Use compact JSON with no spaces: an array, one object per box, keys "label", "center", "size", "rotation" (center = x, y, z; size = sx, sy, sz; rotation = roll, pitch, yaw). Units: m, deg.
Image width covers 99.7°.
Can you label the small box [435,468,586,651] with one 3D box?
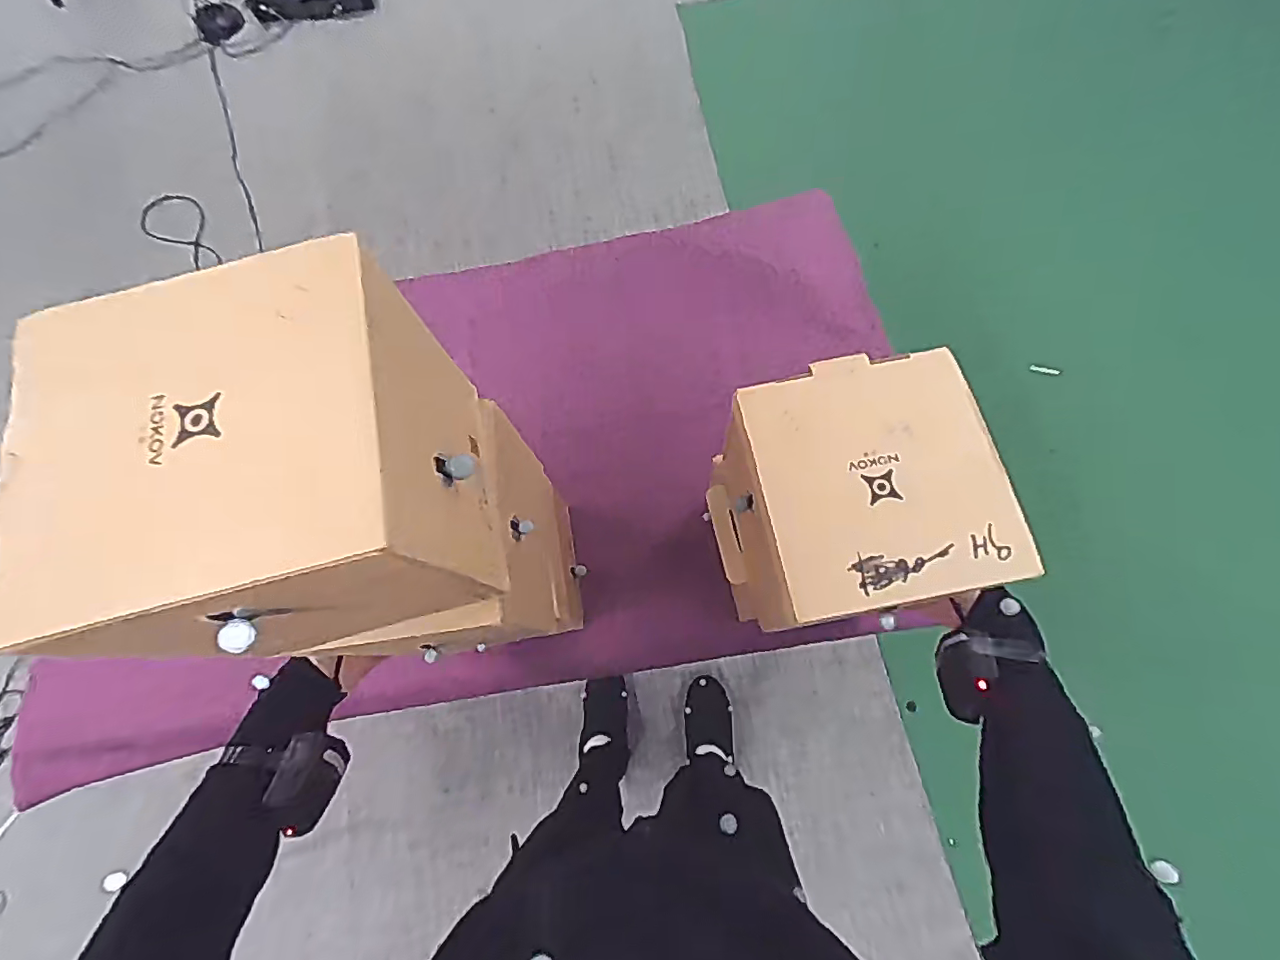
[{"label":"small box","center":[-0.171,0.103,0.635],"size":[0.179,0.176,0.168],"rotation":[-11,71,1]}]

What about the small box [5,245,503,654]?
[{"label":"small box","center":[-0.194,0.000,0.326],"size":[0.179,0.176,0.168],"rotation":[-15,72,1]}]

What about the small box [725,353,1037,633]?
[{"label":"small box","center":[0.172,0.024,0.457],"size":[0.168,0.176,0.179],"rotation":[-11,71,1]}]

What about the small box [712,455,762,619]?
[{"label":"small box","center":[0.184,0.058,0.619],"size":[0.179,0.176,0.168],"rotation":[-13,72,0]}]

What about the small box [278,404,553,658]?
[{"label":"small box","center":[-0.178,0.056,0.478],"size":[0.168,0.176,0.179],"rotation":[-8,71,2]}]
